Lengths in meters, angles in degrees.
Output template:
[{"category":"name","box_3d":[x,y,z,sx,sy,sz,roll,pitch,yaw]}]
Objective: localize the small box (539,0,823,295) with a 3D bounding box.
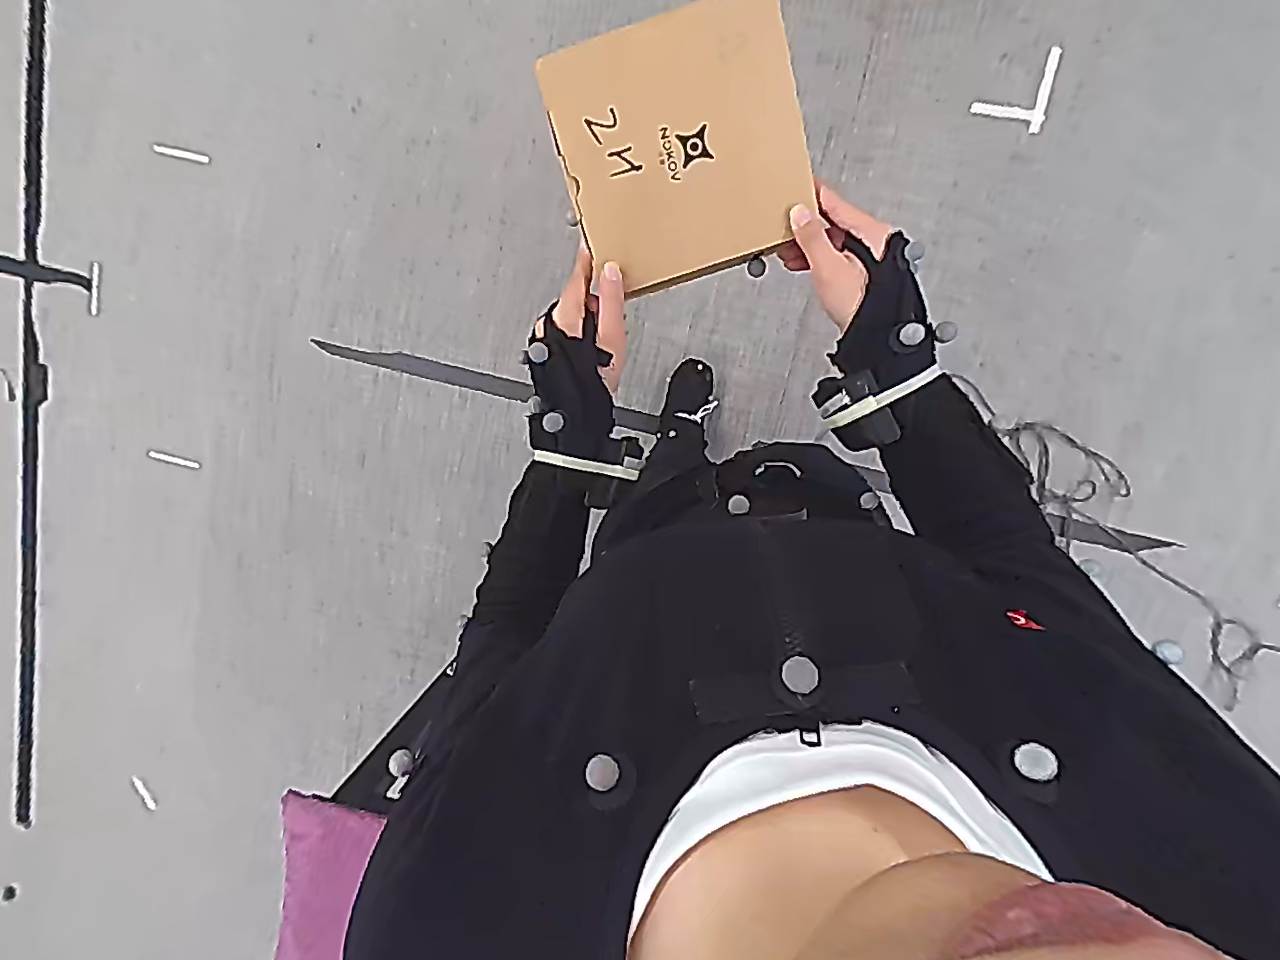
[{"category":"small box","box_3d":[0.032,-0.266,0.464,0.179,0.176,0.168,-16,105,4]}]
